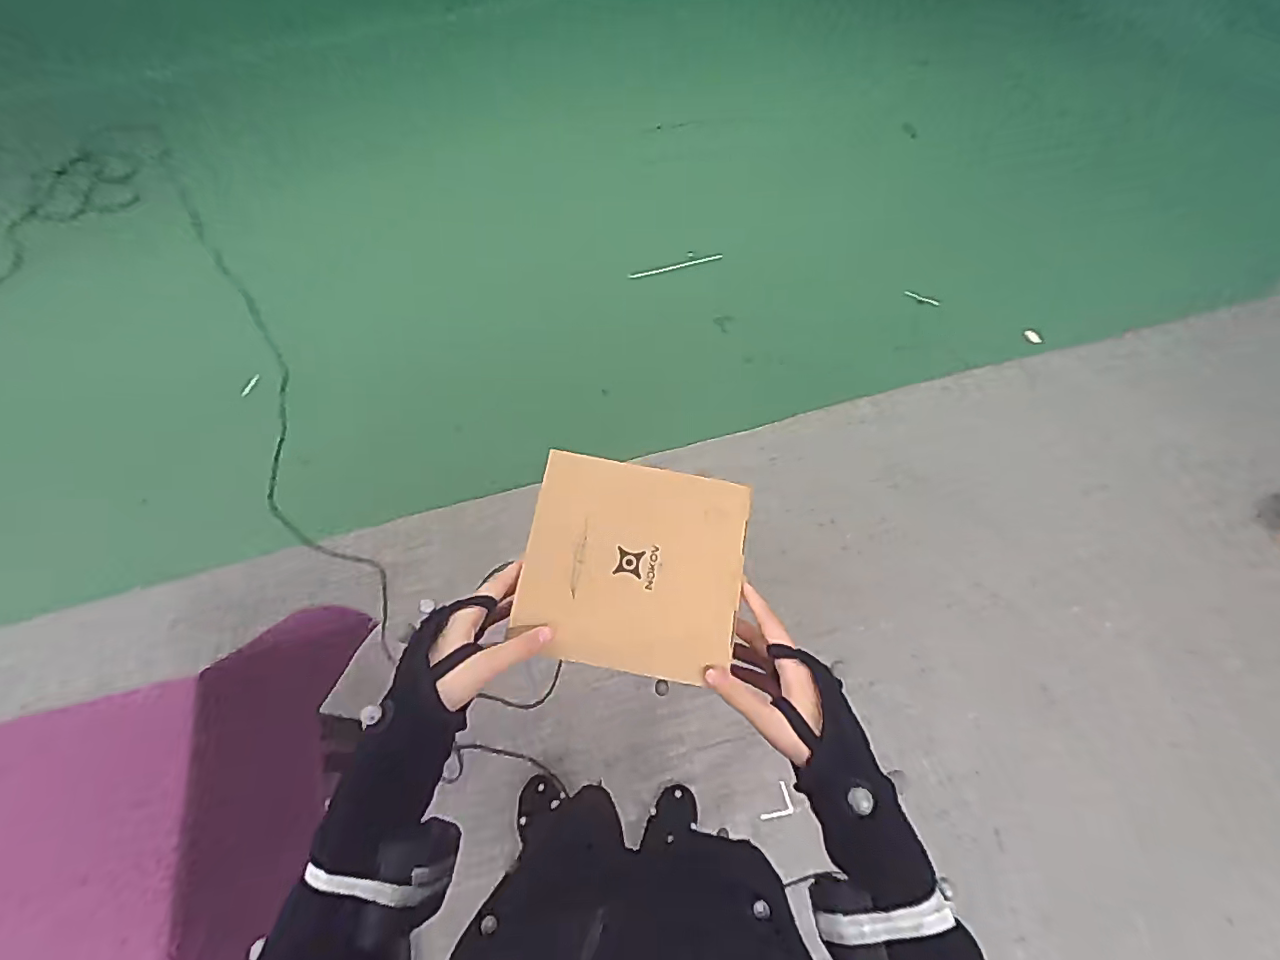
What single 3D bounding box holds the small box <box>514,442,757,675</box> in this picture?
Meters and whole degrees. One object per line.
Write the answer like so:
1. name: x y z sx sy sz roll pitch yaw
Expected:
1. small box: -0.001 0.083 0.522 0.179 0.176 0.168 11 71 2
